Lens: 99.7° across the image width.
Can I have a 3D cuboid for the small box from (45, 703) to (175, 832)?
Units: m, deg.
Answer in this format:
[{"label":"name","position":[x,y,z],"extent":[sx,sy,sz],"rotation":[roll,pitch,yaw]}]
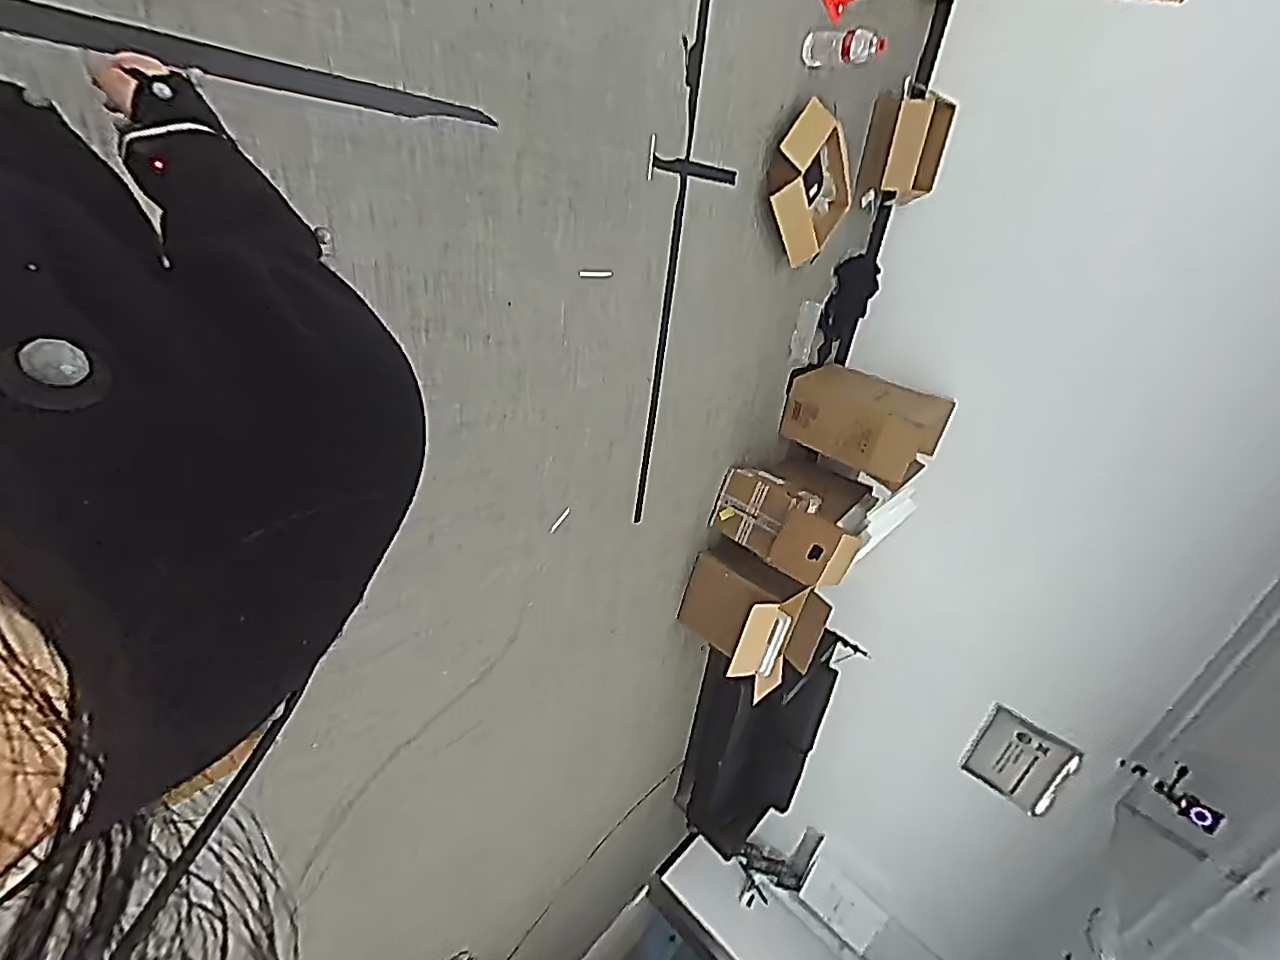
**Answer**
[{"label":"small box","position":[-1.262,0.677,1.291],"extent":[0.168,0.176,0.179],"rotation":[-29,134,-40]}]
